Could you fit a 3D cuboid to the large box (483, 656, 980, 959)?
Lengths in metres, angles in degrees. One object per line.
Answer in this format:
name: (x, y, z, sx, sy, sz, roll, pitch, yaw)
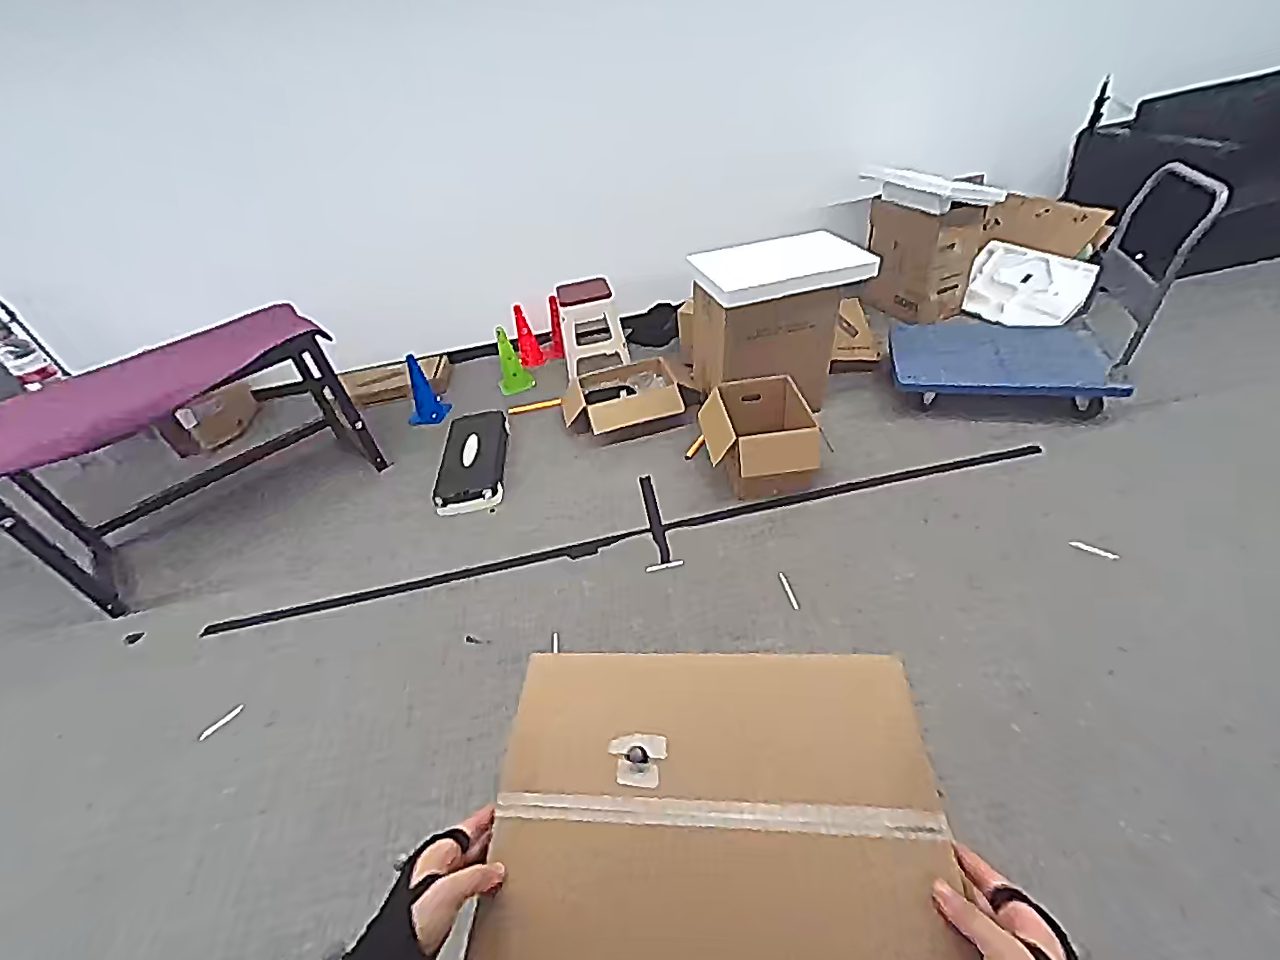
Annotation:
large box: (0.096, 0.415, 0.609, 0.408, 0.320, 0.320, -4, 45, 10)
